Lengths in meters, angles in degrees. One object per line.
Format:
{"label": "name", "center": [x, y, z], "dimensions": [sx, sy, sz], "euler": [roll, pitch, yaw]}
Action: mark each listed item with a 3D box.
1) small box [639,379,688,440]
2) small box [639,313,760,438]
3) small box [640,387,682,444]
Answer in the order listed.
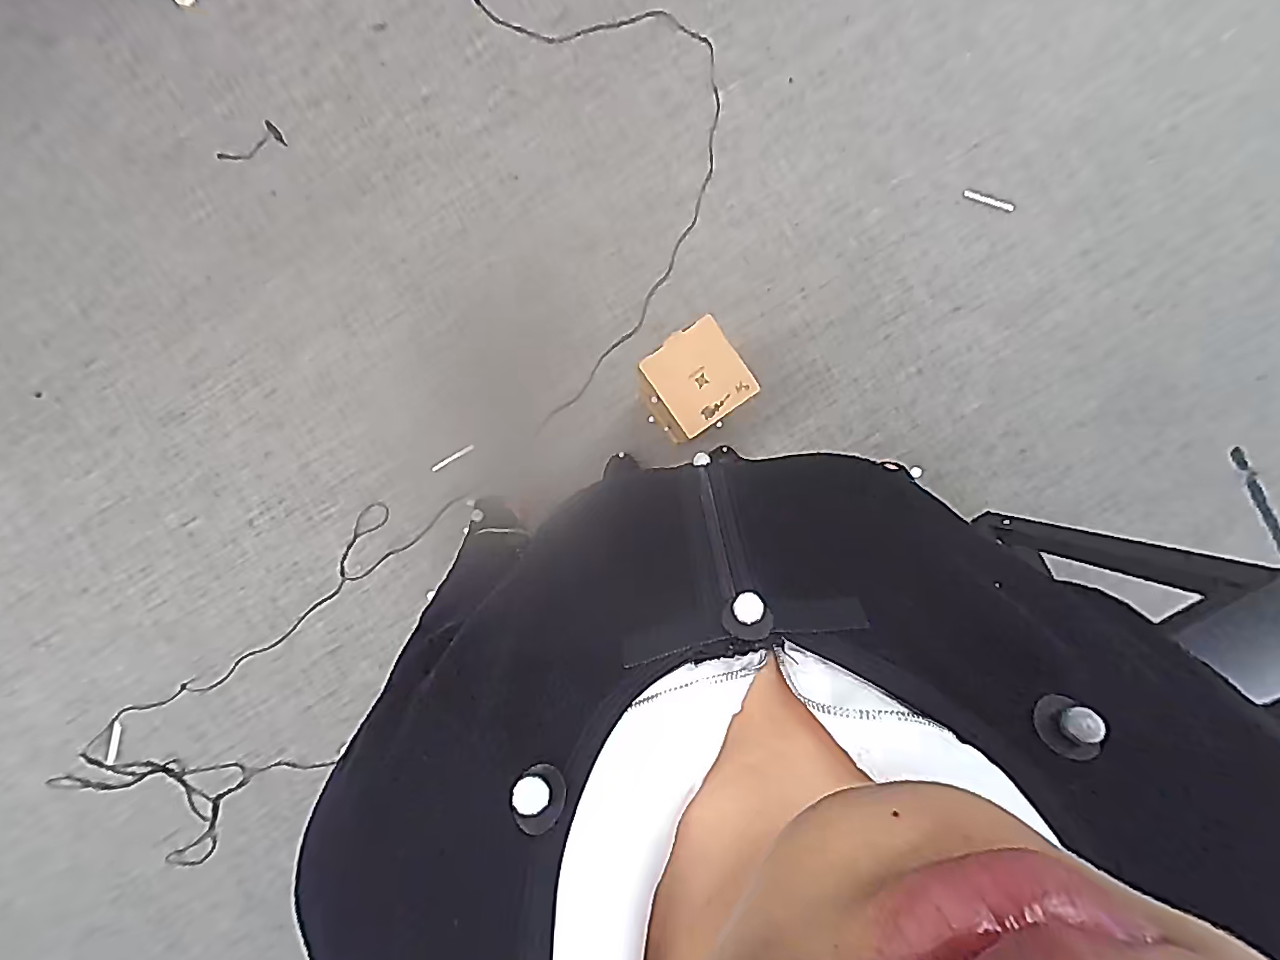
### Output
{"label": "small box", "center": [0.115, -0.205, 1.247], "dimensions": [0.179, 0.176, 0.168], "euler": [-38, 93, 2]}
{"label": "small box", "center": [0.110, -0.197, 1.083], "dimensions": [0.168, 0.176, 0.179], "euler": [-35, 92, 3]}
{"label": "small box", "center": [0.113, -0.209, 1.409], "dimensions": [0.179, 0.176, 0.168], "euler": [-34, 92, 3]}
